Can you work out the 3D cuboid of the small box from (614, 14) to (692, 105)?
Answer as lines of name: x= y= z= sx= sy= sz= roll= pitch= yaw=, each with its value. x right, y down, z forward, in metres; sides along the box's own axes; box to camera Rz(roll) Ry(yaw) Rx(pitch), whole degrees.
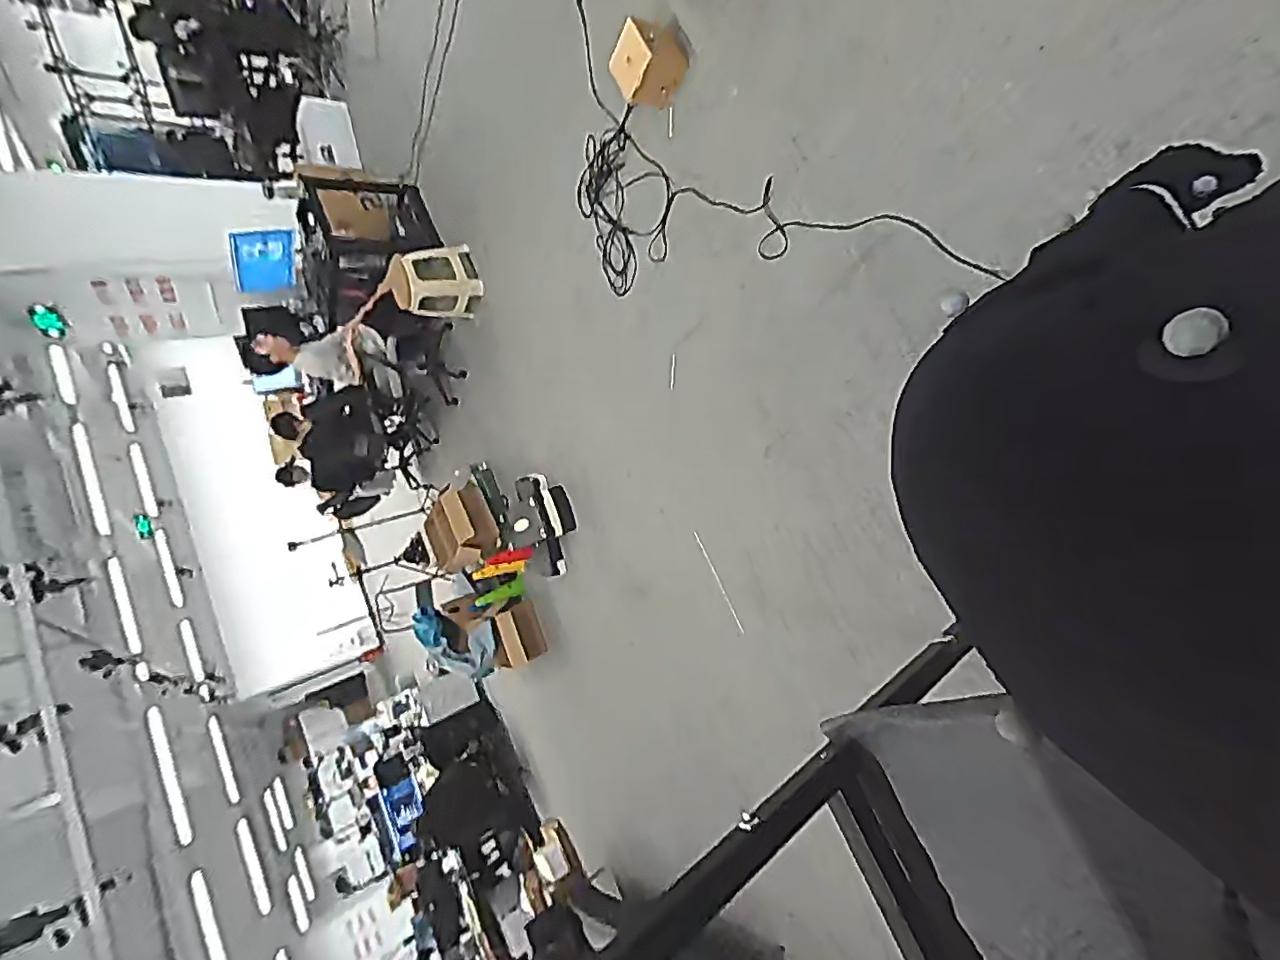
small box: x=0.044 y=-1.417 z=1.837 sx=0.168 sy=0.176 sz=0.179 roll=-40 pitch=72 yaw=53
